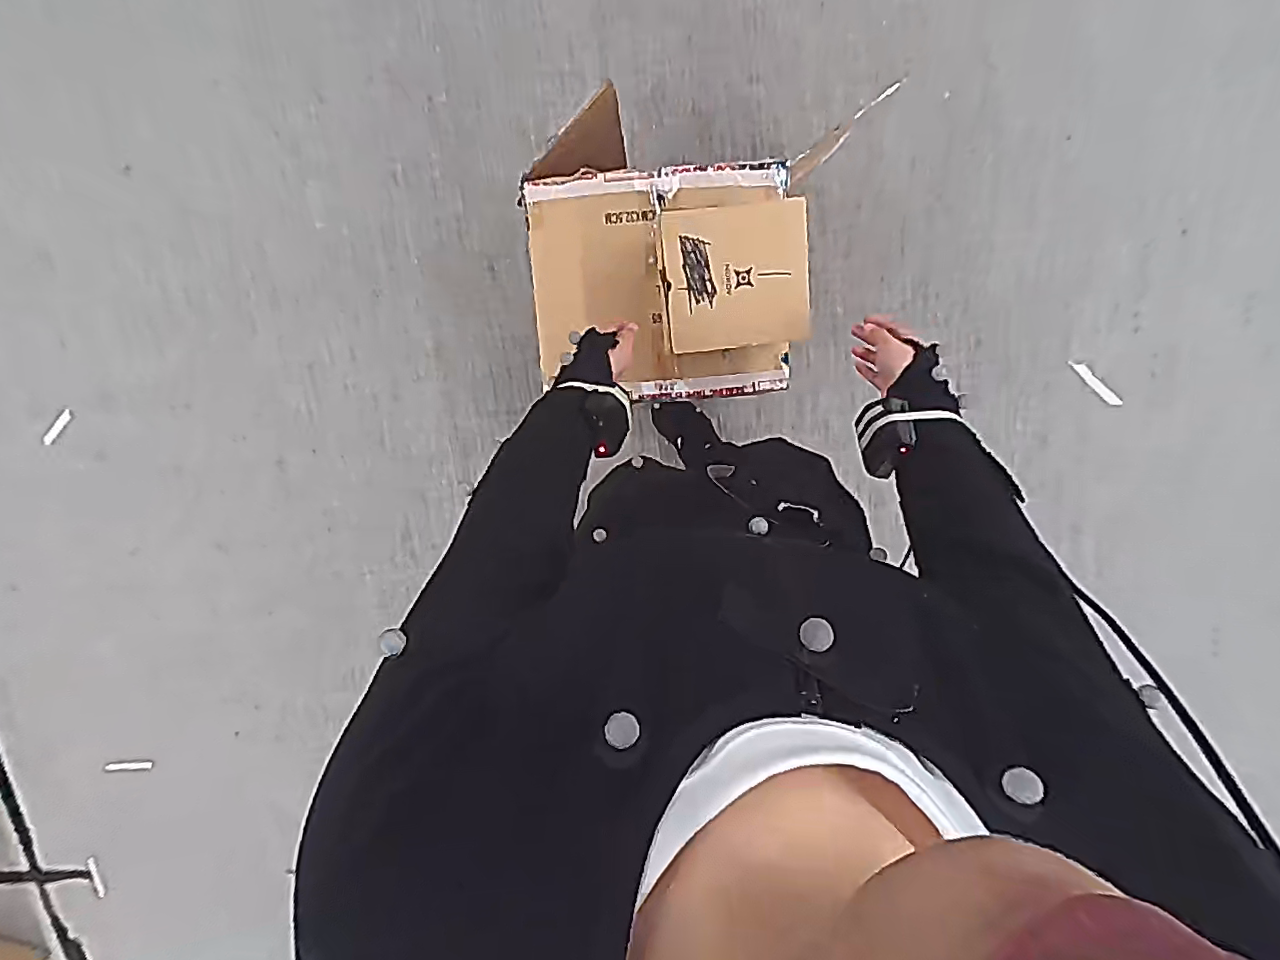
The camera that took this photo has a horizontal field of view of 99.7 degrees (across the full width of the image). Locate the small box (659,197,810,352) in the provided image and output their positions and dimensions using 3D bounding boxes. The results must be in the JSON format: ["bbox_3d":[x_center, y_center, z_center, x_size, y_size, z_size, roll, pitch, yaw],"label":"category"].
[{"bbox_3d":[0.119,-0.264,0.731,0.179,0.176,0.168,-6,104,1],"label":"small box"}]
